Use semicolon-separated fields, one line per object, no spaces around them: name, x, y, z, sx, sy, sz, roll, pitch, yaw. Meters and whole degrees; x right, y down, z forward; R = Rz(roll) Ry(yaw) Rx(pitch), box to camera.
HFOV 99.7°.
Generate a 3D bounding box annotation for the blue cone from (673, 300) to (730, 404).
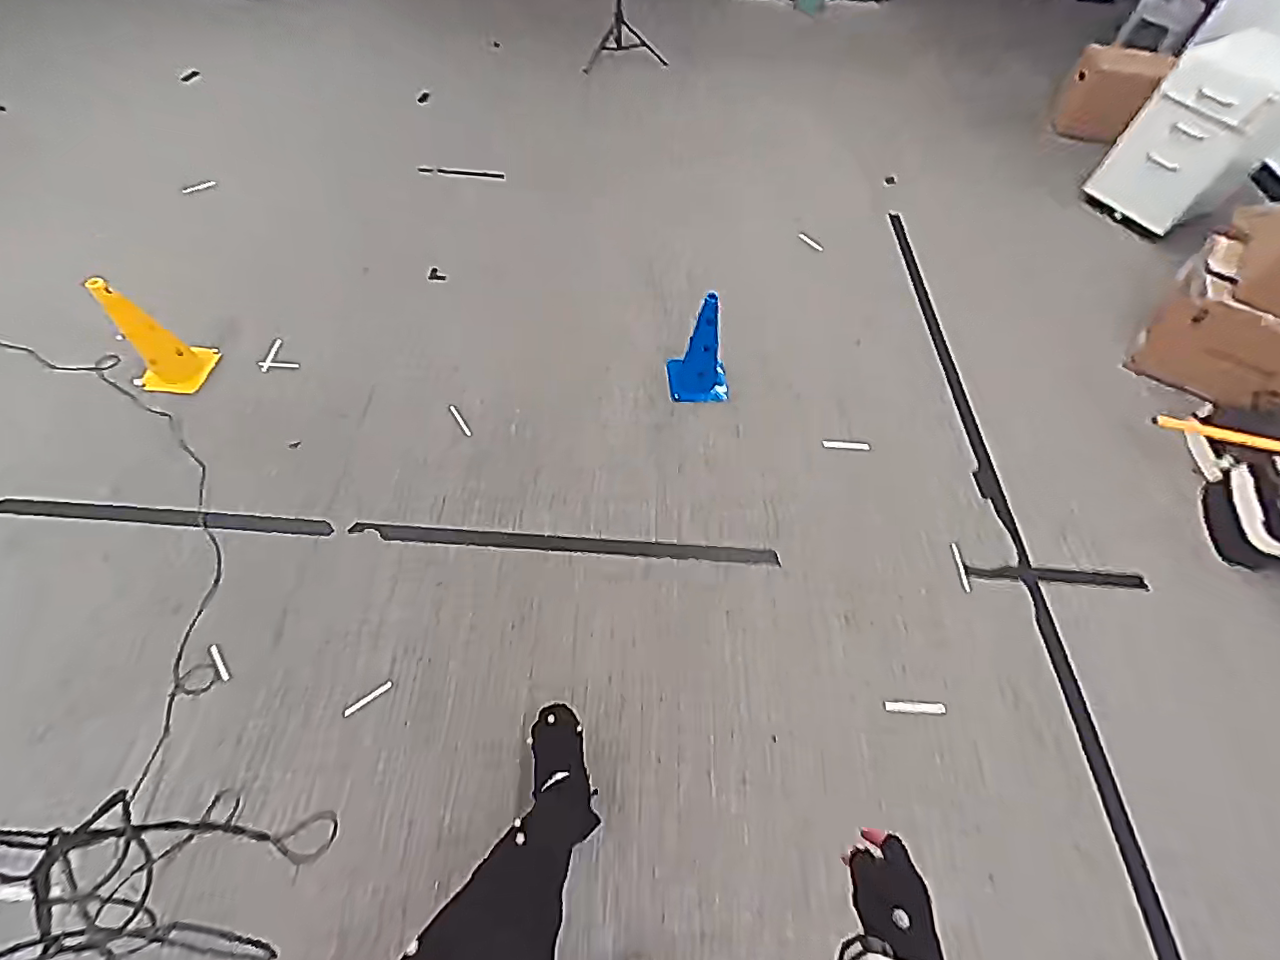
blue cone;0.217;-0.426;1.745;0.193;0.380;0.192;0;58;-3
